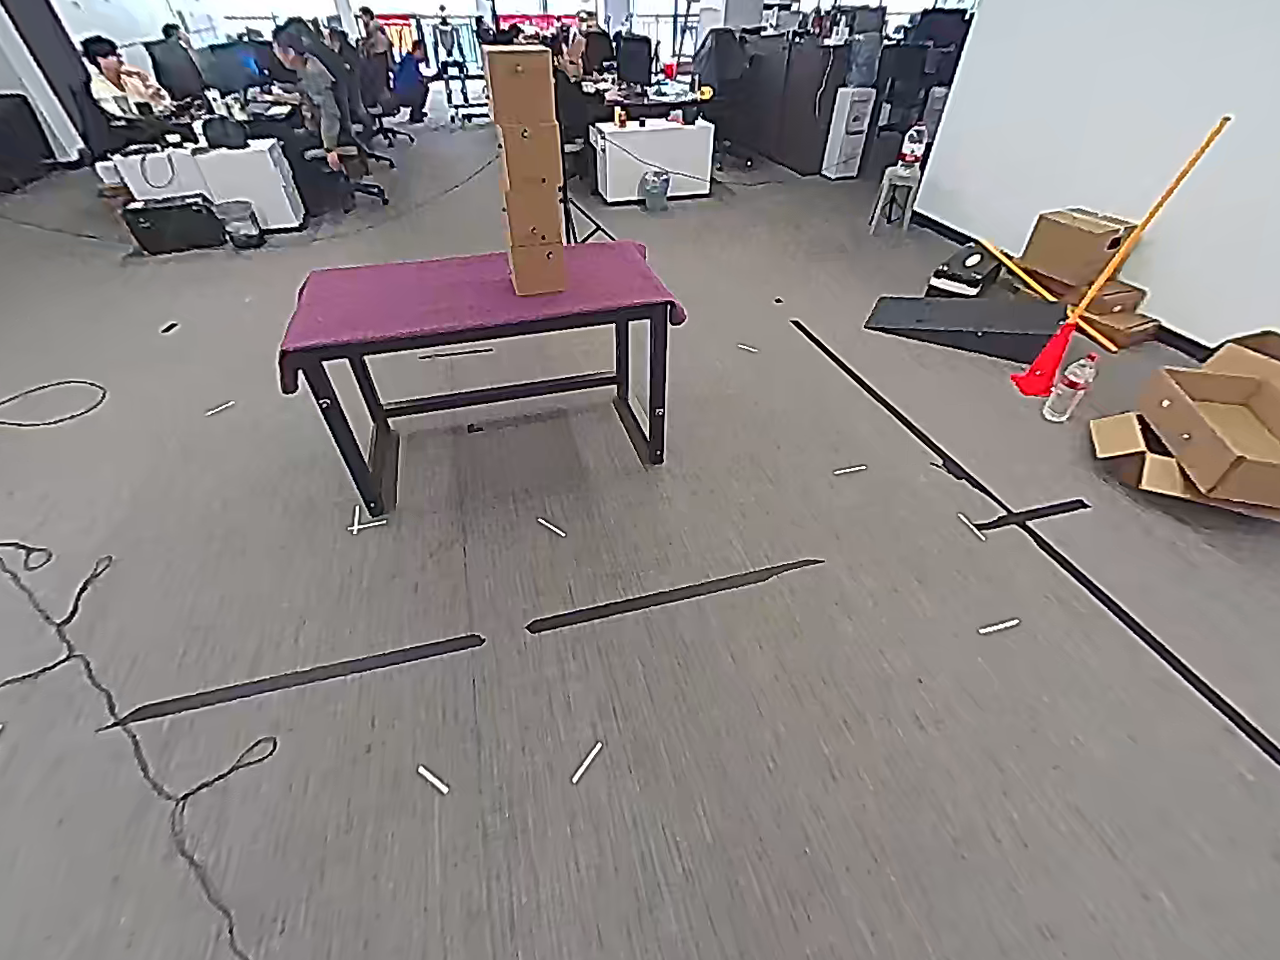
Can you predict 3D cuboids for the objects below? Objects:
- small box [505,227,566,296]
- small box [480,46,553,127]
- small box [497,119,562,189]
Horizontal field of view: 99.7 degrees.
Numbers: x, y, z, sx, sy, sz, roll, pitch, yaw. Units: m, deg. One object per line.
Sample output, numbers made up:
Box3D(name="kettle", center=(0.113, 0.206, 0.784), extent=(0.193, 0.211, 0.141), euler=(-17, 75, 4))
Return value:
Box3D(name="small box", center=(-0.357, -0.754, 1.866), extent=(0.179, 0.176, 0.168), euler=(-12, 43, -12))
Box3D(name="small box", center=(-0.349, -1.128, 1.548), extent=(0.179, 0.176, 0.168), euler=(-13, 44, -13))
Box3D(name="small box", center=(-0.339, -1.001, 1.651), extent=(0.168, 0.176, 0.179), euler=(-12, 43, -13))
